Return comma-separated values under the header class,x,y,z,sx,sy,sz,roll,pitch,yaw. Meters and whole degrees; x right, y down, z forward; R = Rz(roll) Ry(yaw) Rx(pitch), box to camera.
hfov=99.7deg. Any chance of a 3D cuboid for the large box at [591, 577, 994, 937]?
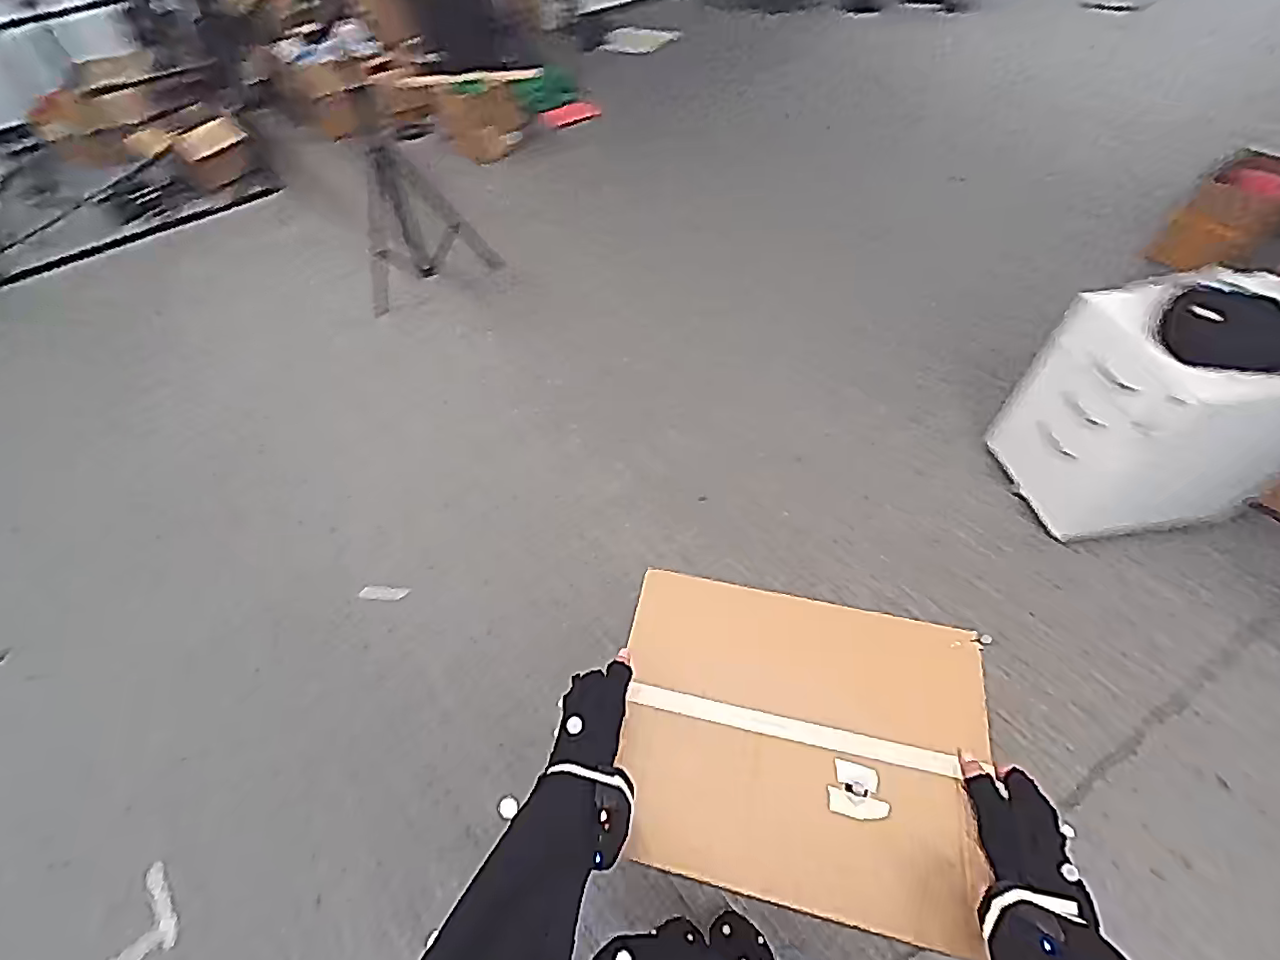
class,x,y,z,sx,sy,sz,roll,pitch,yaw
large box,0.173,0.363,0.739,0.408,0.320,0.320,9,58,8
